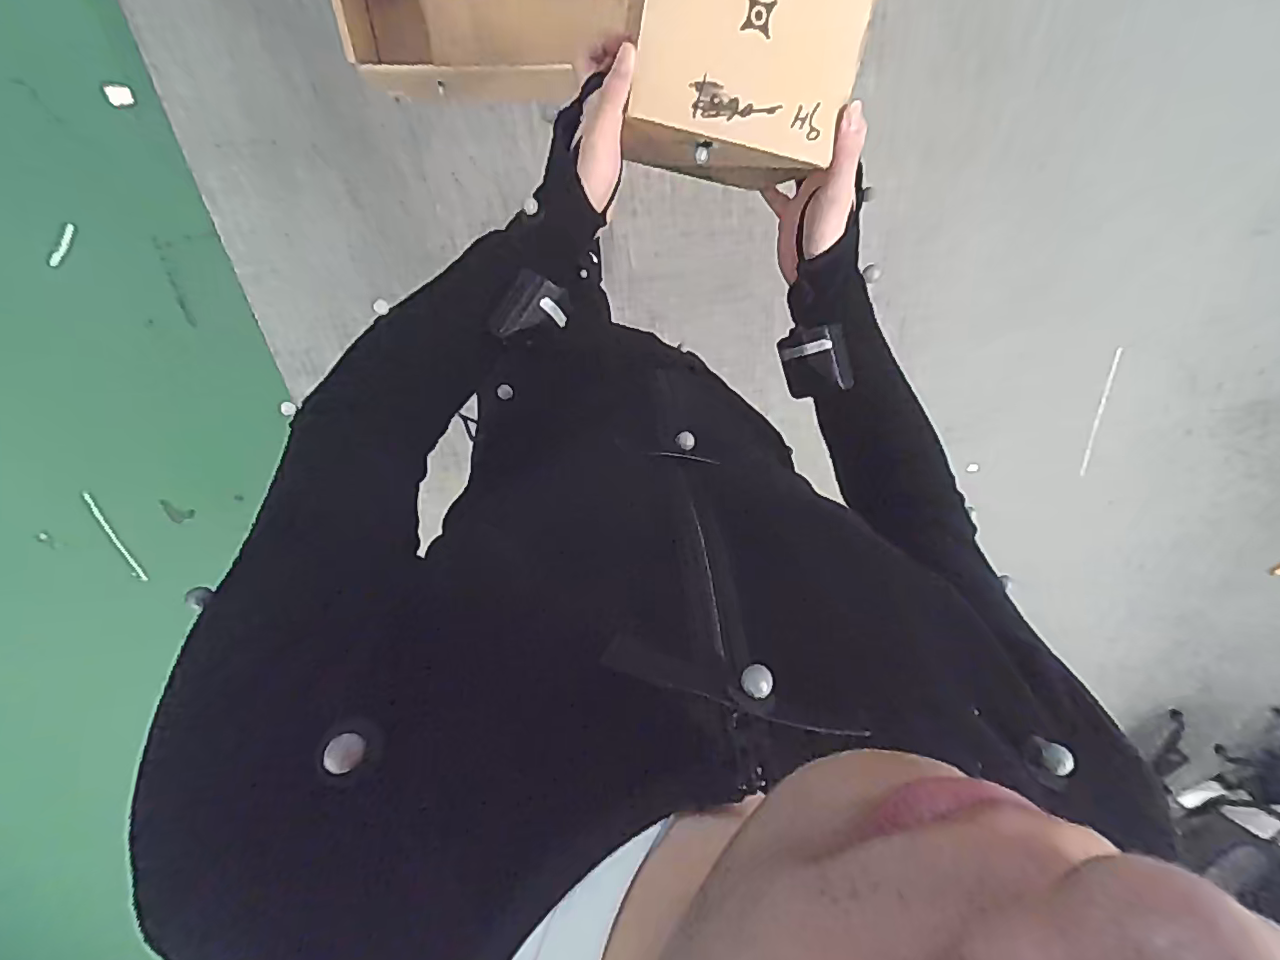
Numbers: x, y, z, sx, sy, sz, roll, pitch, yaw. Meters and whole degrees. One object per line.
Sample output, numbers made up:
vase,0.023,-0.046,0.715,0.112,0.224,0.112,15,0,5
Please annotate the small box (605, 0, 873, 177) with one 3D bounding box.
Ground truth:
small box,0.069,-0.368,0.435,0.168,0.176,0.179,7,111,-12
